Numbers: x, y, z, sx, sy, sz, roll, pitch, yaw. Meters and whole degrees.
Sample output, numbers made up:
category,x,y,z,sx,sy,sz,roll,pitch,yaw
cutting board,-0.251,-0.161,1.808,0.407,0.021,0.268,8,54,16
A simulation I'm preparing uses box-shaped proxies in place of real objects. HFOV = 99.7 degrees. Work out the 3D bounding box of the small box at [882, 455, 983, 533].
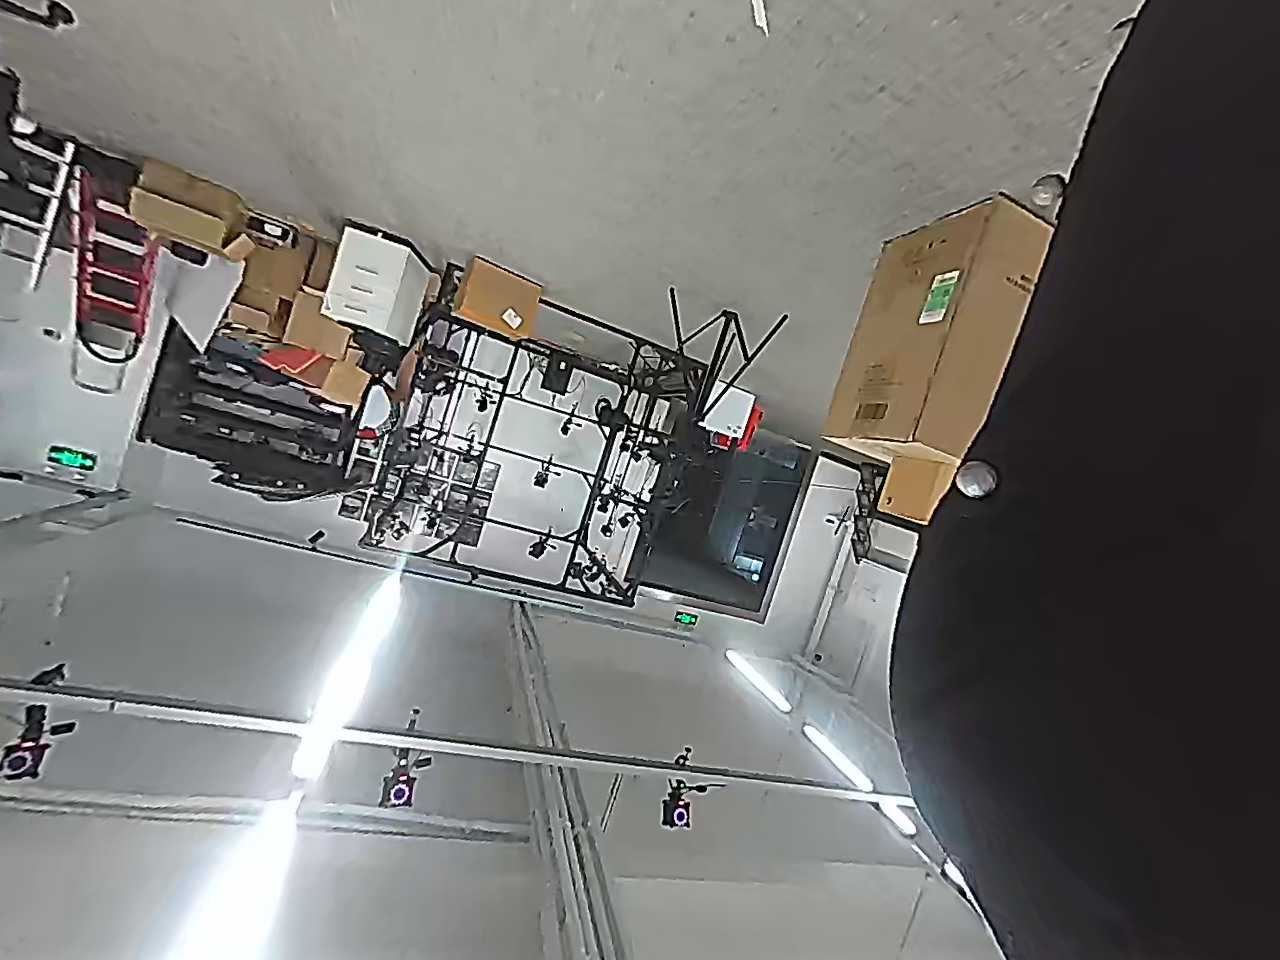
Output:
category,x,y,z,sx,sy,sz,roll,pitch,yaw
small box,0.817,0.033,1.504,0.168,0.176,0.179,16,-177,-19
